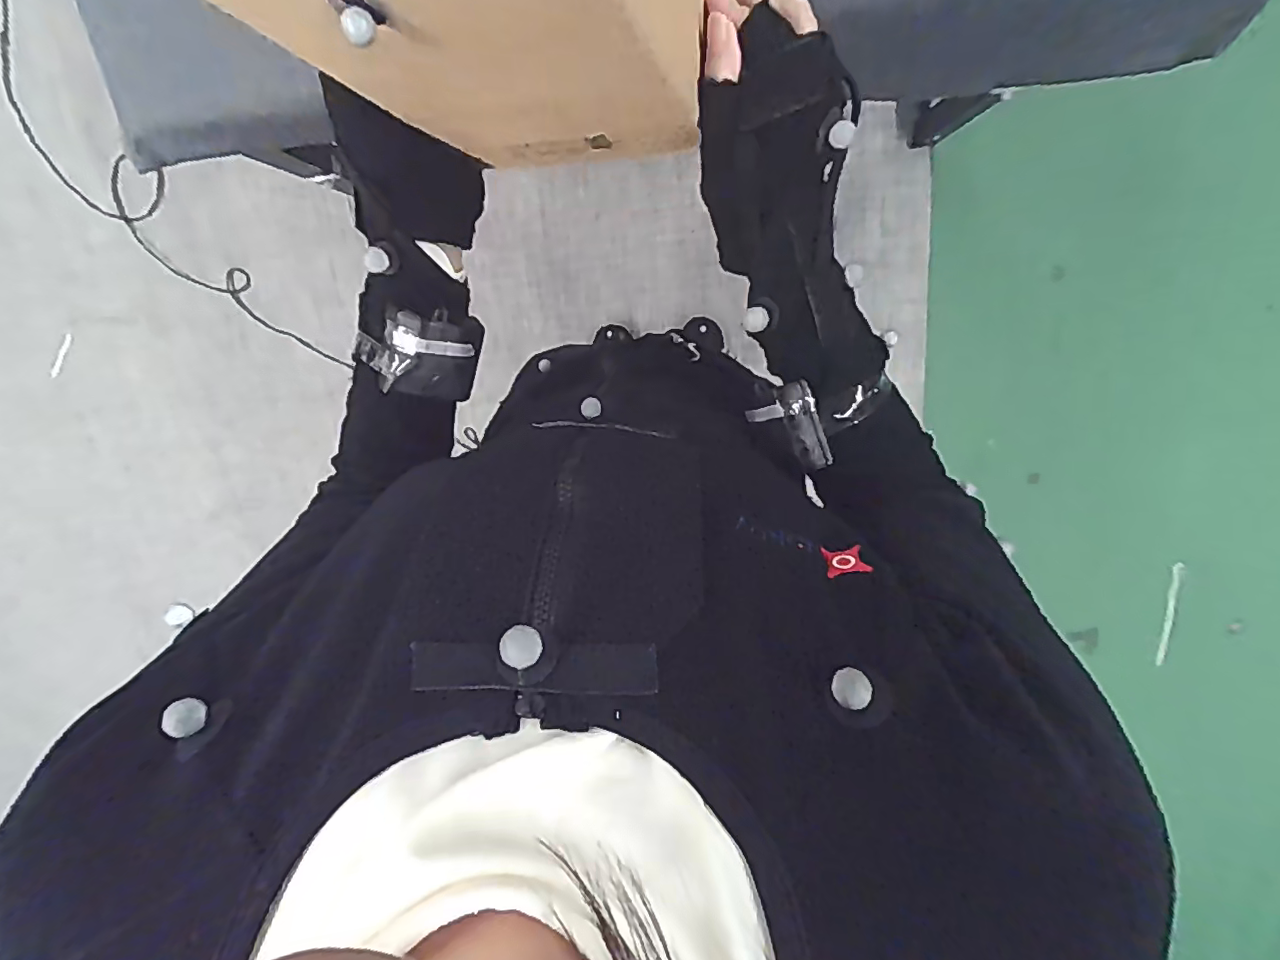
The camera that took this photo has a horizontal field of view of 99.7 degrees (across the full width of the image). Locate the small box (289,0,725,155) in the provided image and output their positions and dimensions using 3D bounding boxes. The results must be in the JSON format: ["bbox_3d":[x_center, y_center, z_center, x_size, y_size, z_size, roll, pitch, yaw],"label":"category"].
[{"bbox_3d":[-0.057,-0.279,0.243,0.168,0.176,0.179,10,100,22],"label":"small box"}]
